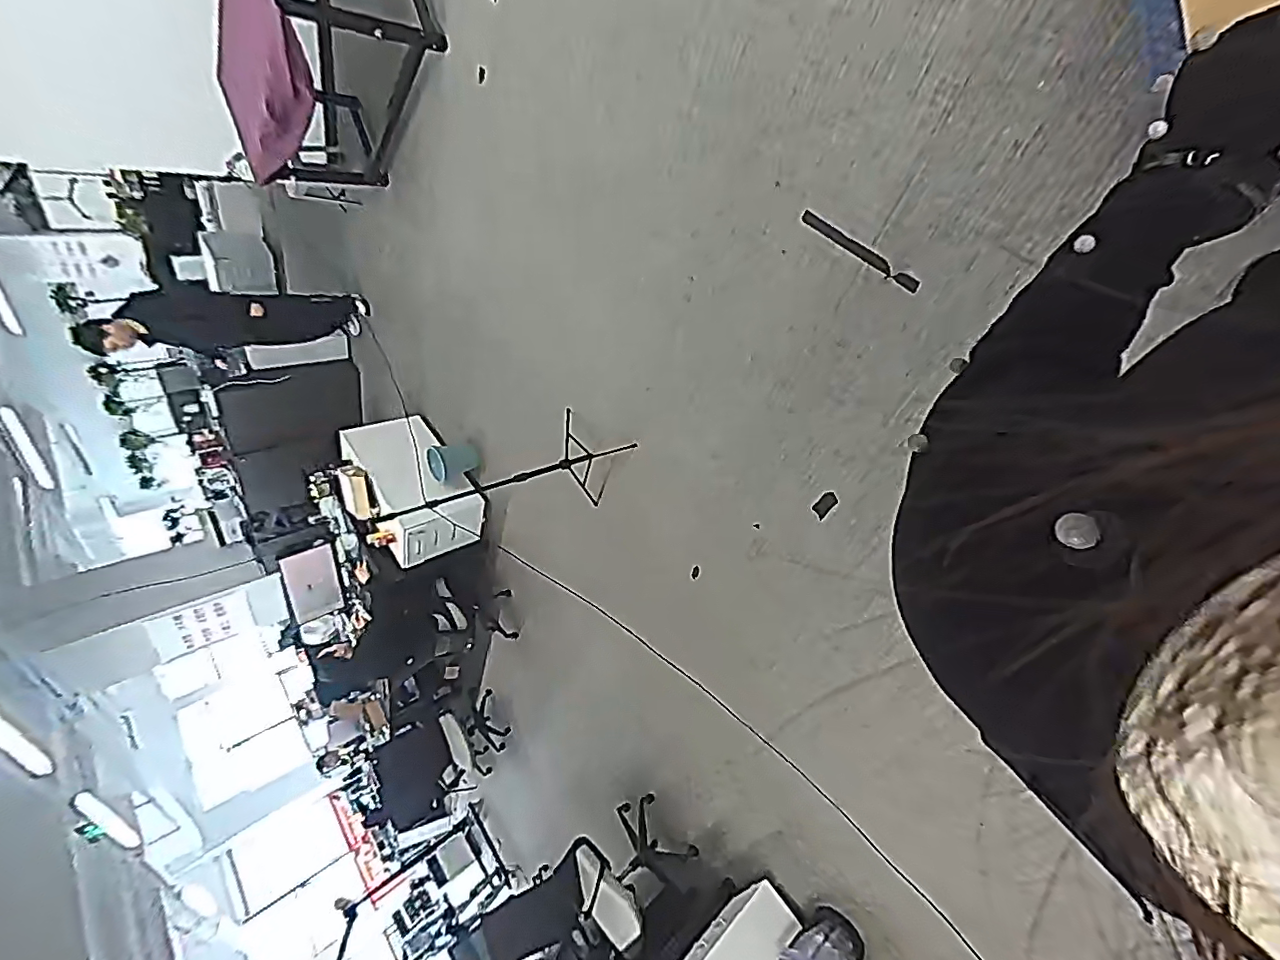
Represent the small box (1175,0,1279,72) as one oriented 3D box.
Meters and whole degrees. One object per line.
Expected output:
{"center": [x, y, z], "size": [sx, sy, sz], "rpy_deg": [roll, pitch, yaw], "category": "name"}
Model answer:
{"center": [0.845, -0.693, 0.731], "size": [0.168, 0.176, 0.179], "rpy_deg": [-8, 101, 49], "category": "small box"}
